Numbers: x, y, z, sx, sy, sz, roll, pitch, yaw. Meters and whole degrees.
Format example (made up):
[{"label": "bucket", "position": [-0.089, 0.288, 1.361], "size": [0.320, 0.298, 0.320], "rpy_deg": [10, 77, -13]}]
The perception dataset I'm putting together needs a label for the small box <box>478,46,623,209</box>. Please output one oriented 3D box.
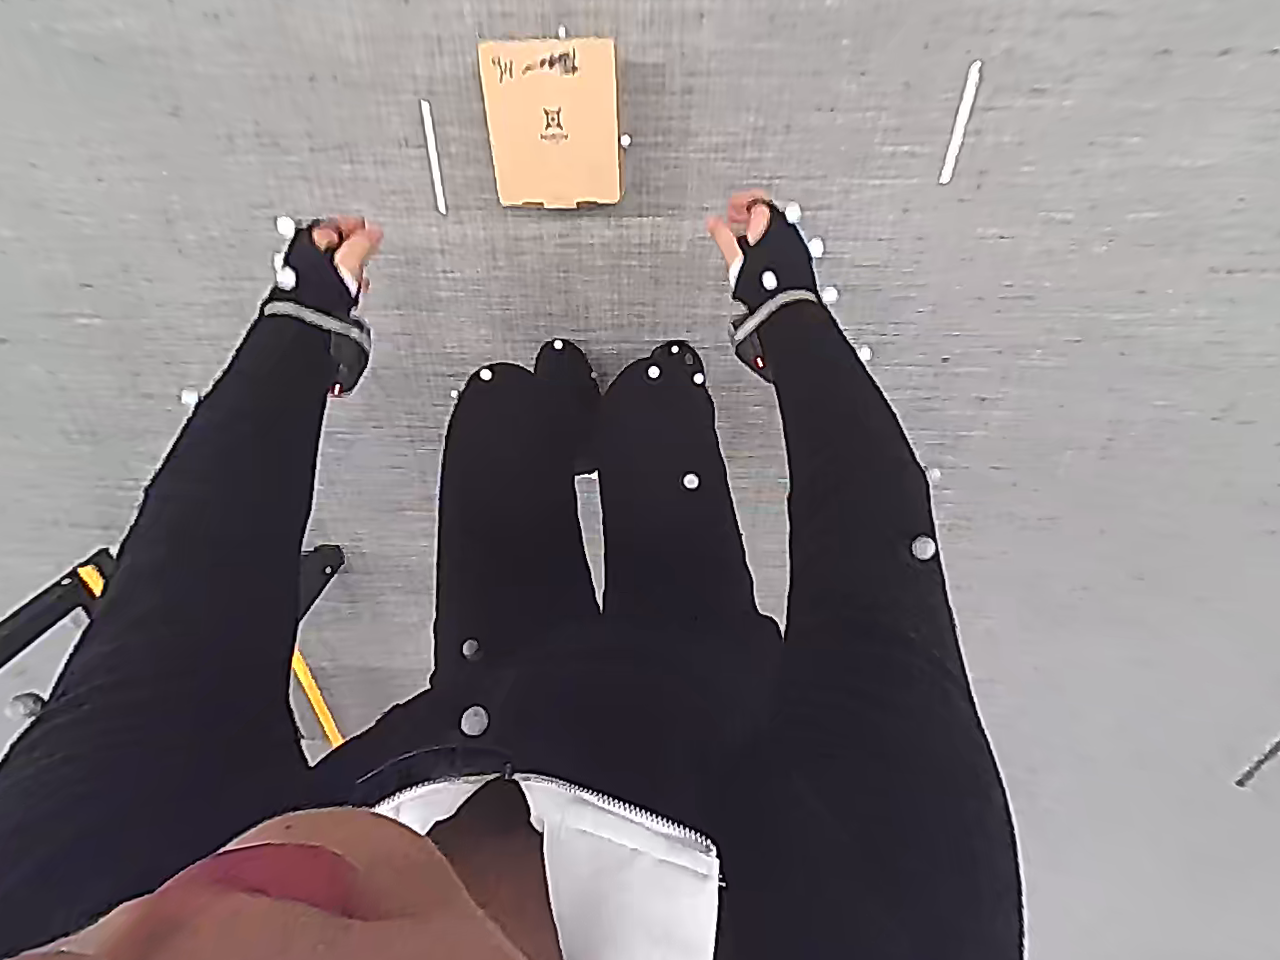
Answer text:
[{"label": "small box", "position": [-0.111, -0.486, 0.755], "size": [0.168, 0.176, 0.179], "rpy_deg": [0, 123, 1]}]
